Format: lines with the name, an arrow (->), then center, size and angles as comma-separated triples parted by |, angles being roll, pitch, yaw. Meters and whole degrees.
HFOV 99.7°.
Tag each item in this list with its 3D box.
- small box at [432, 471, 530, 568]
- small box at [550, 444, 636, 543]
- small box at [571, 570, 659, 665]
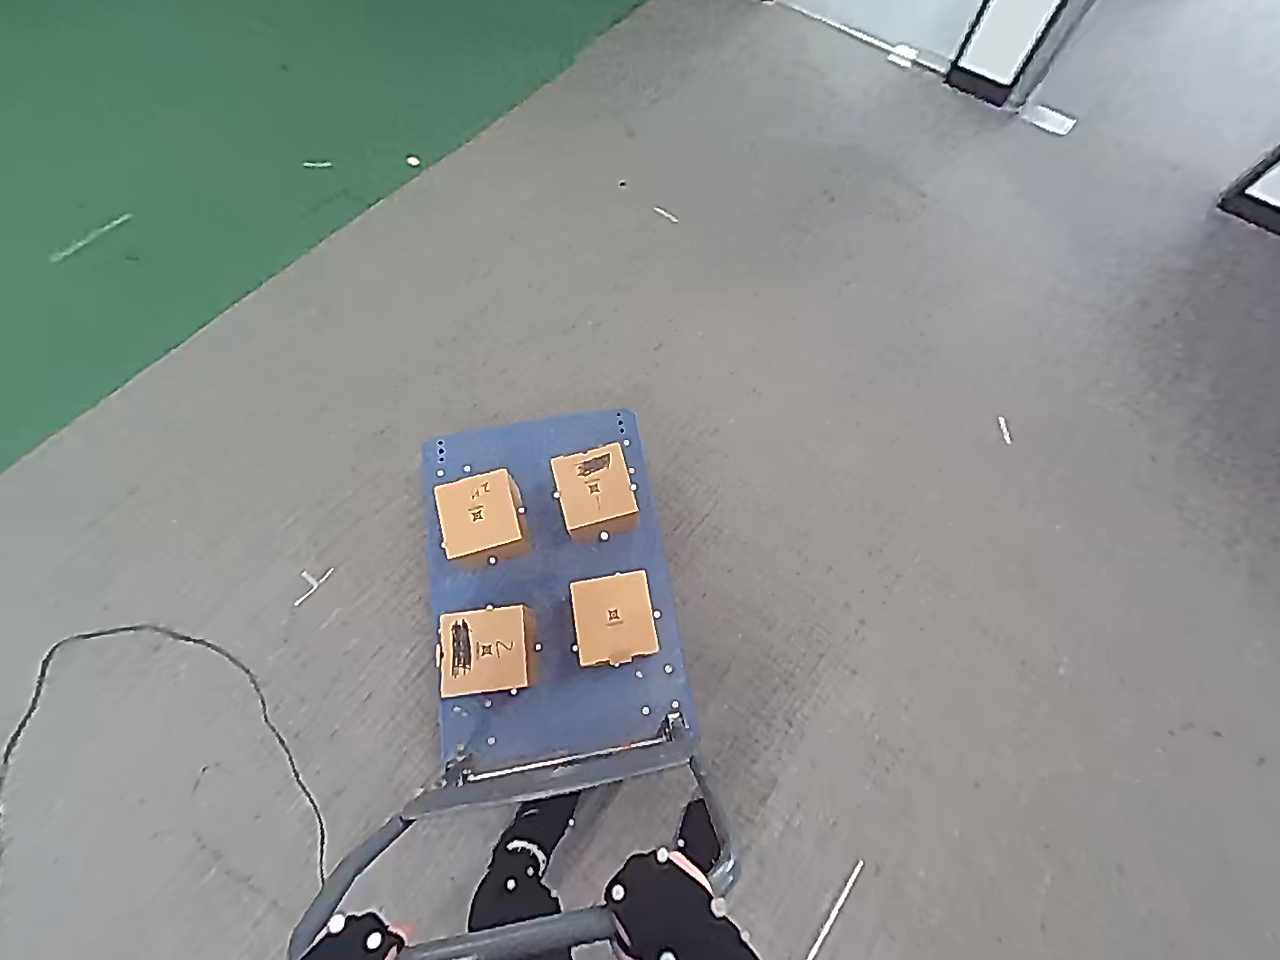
small box -> -0.368, 0.101, 1.275 | 0.168, 0.176, 0.179 | -16, 73, -7
small box -> -0.111, 0.037, 1.302 | 0.168, 0.176, 0.179 | -15, 74, -6
small box -> -0.058, 0.312, 1.214 | 0.168, 0.176, 0.179 | -10, 73, -4
